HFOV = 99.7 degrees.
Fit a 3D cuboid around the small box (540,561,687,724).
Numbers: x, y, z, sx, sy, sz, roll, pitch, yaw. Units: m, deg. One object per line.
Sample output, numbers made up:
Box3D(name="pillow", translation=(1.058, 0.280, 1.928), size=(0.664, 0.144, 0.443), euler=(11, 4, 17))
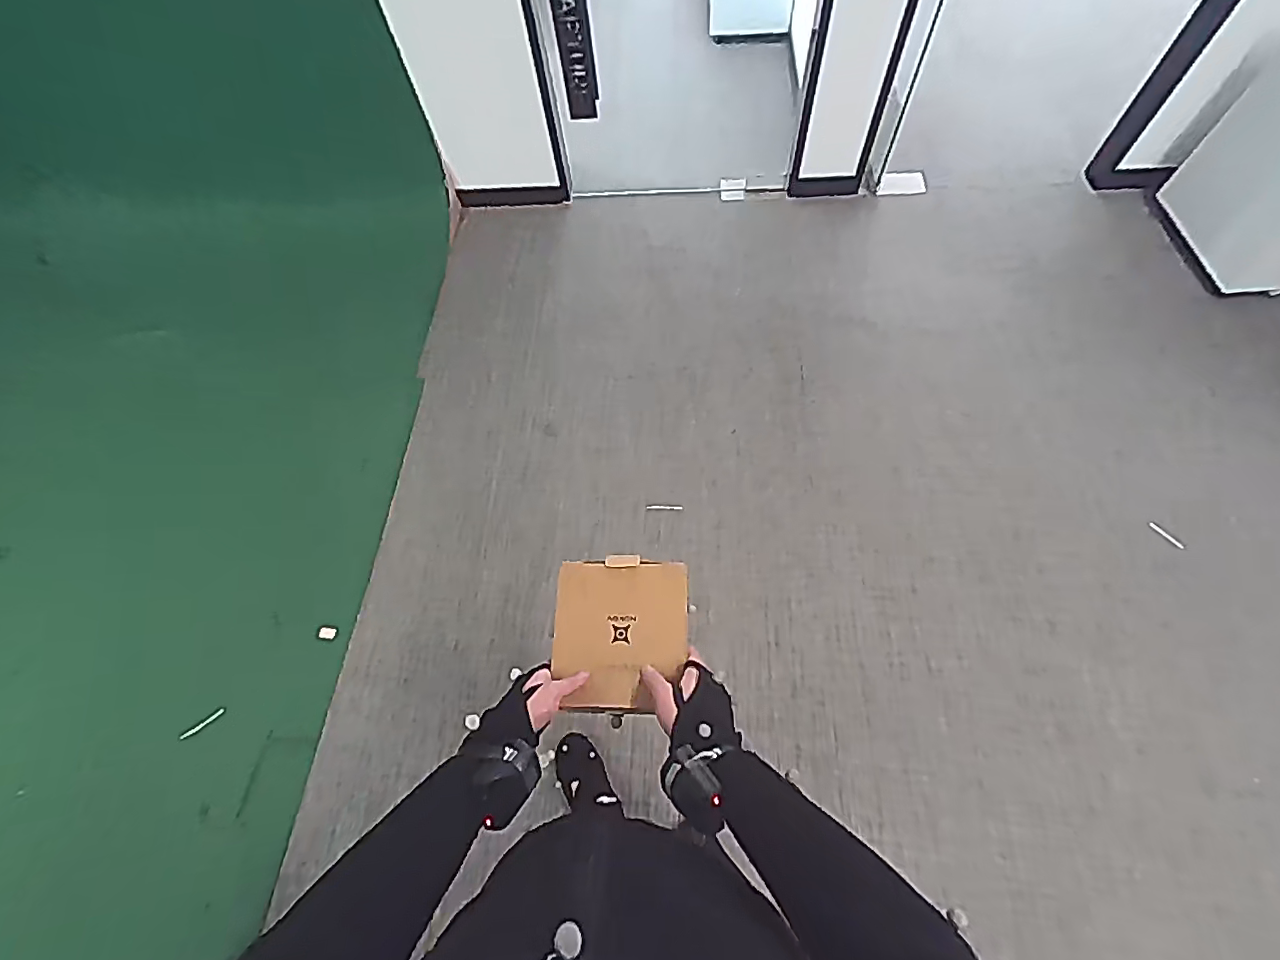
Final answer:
Box3D(name="small box", translation=(-0.024, 0.218, 0.713), size=(0.168, 0.176, 0.179), euler=(1, 64, 5))
